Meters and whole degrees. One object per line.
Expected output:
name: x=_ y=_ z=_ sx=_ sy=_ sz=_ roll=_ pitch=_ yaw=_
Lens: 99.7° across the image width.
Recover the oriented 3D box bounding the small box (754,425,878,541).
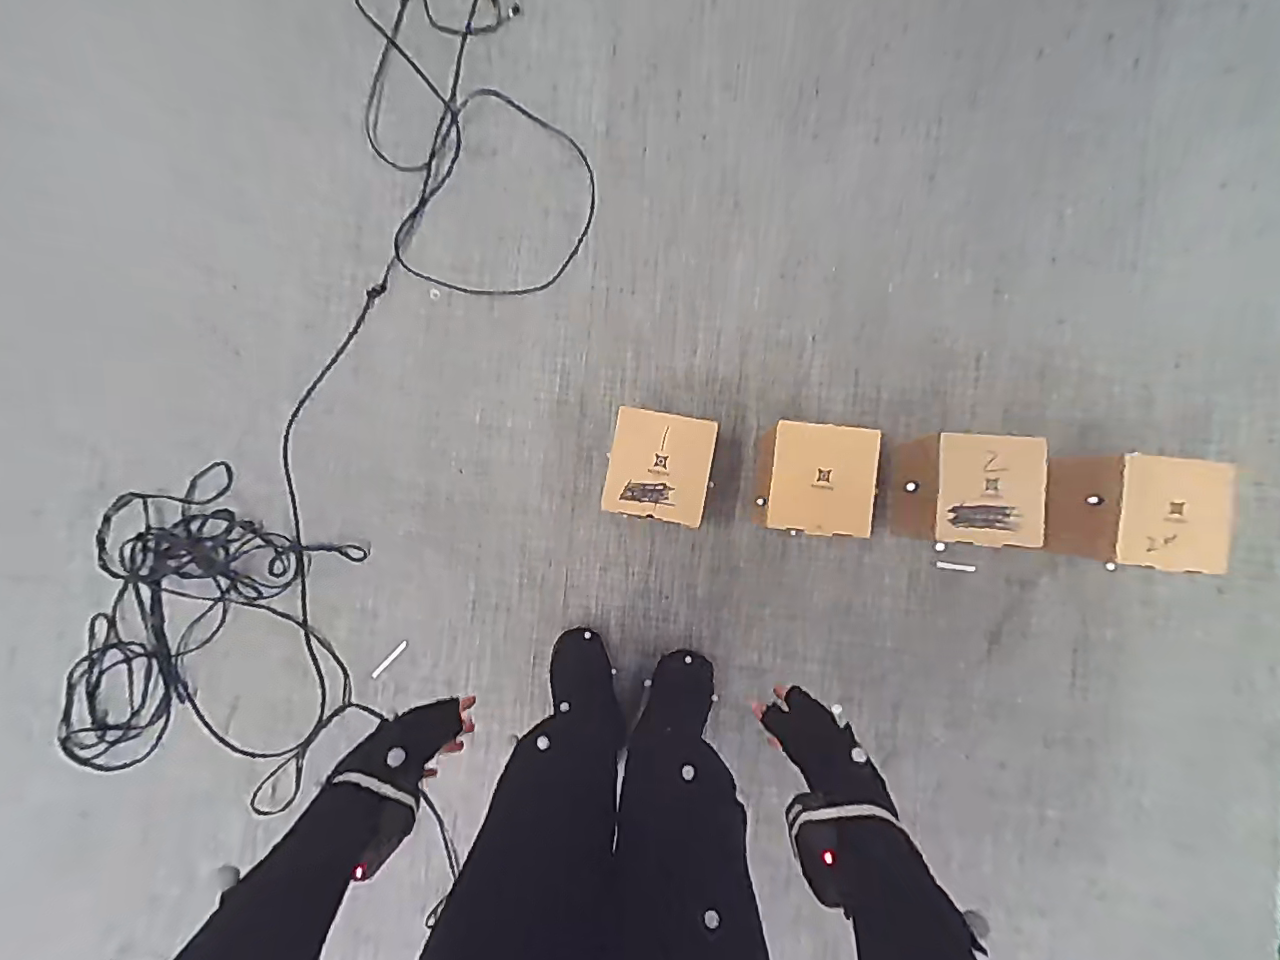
small box: x=0.300 y=0.007 z=0.955 sx=0.168 sy=0.176 sz=0.179 roll=6 pitch=89 yaw=5

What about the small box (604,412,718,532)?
small box: x=0.040 y=-0.012 z=0.970 sx=0.168 sy=0.176 sz=0.179 roll=10 pitch=89 yaw=4

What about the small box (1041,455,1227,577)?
small box: x=0.827 y=0.058 z=0.923 sx=0.168 sy=0.176 sz=0.179 roll=6 pitch=89 yaw=4
